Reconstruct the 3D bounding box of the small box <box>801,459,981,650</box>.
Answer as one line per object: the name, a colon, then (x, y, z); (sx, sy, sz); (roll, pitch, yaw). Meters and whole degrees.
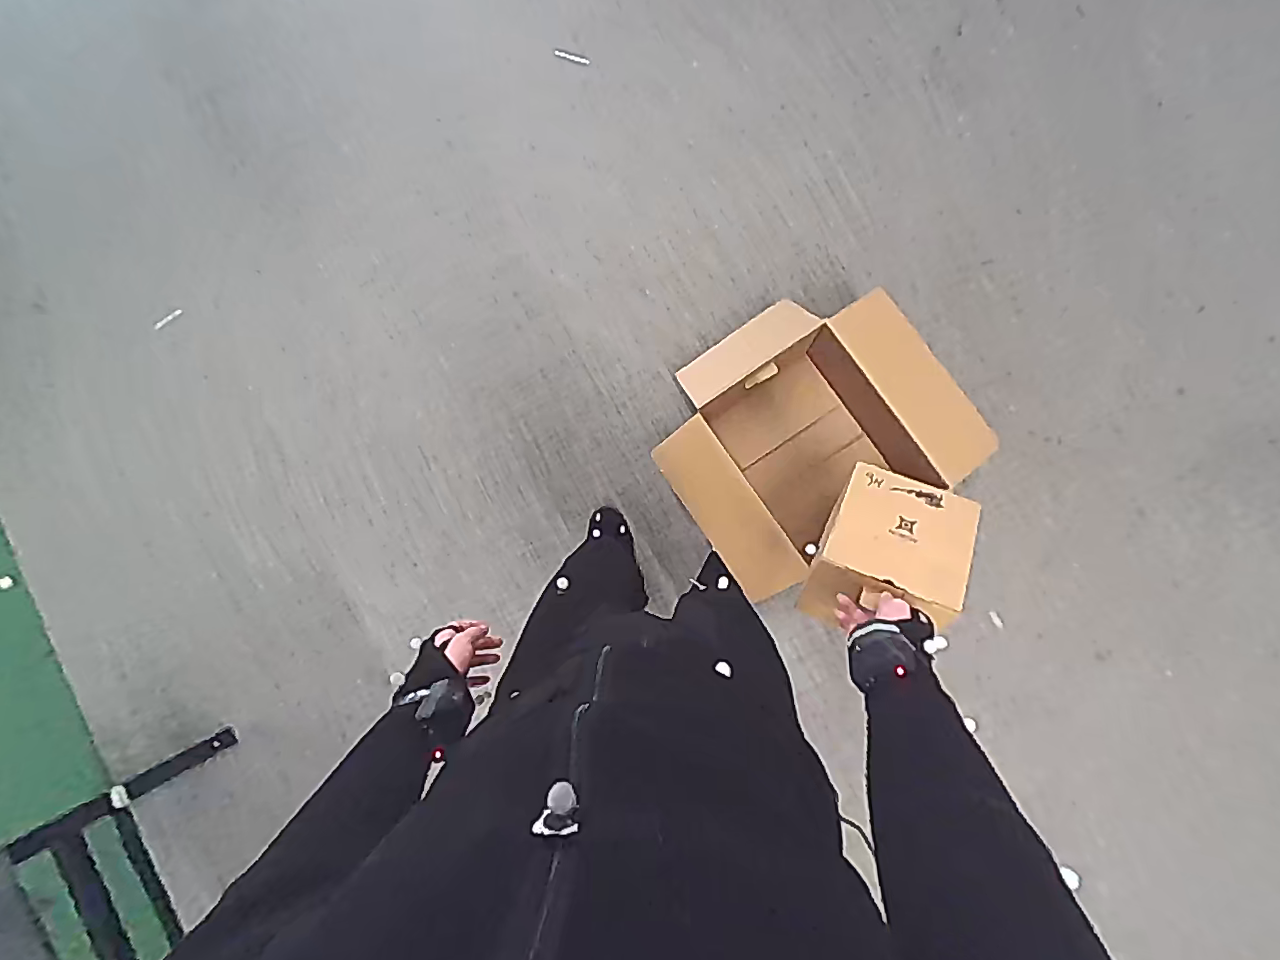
small box: (0.339, 0.109, 0.757); (0.168, 0.176, 0.179); (24, 58, 18)
